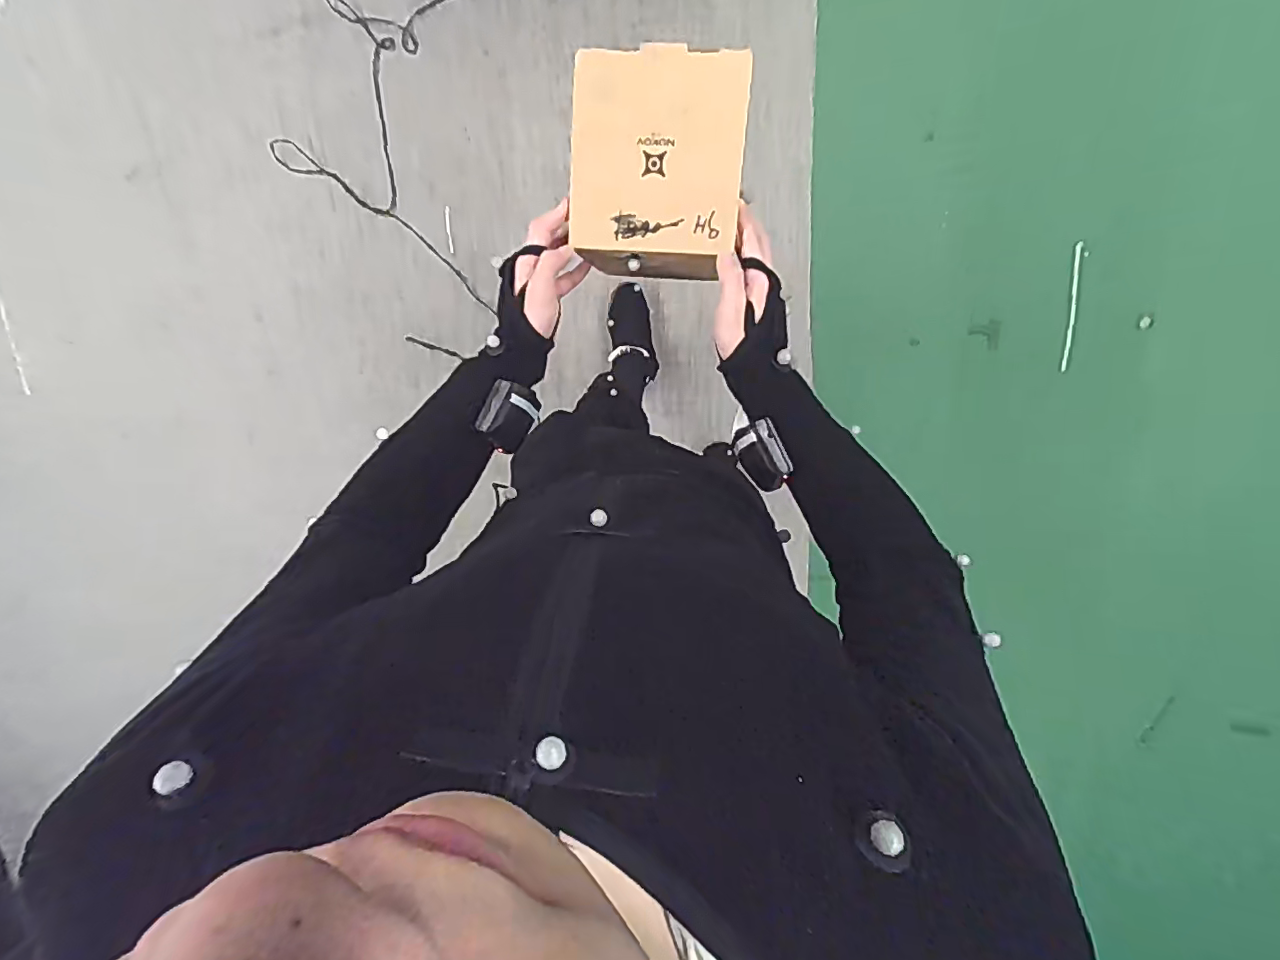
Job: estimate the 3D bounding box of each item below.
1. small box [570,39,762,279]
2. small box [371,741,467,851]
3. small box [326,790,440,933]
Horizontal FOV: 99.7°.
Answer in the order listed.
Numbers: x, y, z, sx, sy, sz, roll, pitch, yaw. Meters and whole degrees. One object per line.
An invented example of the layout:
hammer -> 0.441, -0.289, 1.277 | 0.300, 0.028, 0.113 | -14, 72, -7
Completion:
small box -> 0.029, -0.324, 0.579 | 0.168, 0.176, 0.179 | 6, 104, 6
small box -> -0.543, 0.787, 1.338 | 0.168, 0.176, 0.179 | 9, 103, 3
small box -> -0.553, 0.824, 1.179 | 0.168, 0.176, 0.179 | 9, 103, 3
